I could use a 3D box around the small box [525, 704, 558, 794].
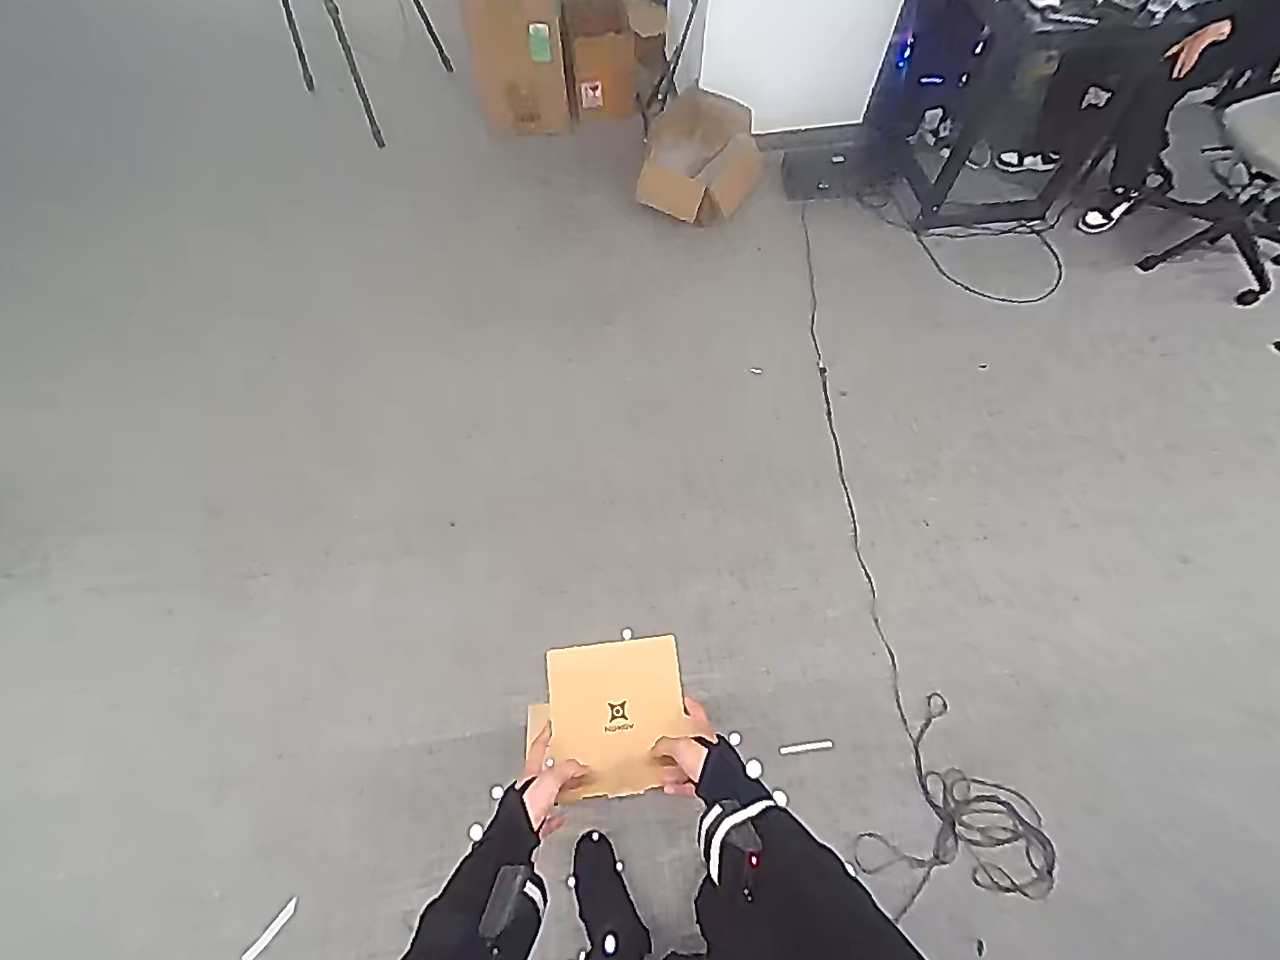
[{"bbox_3d":[-0.144,0.581,1.174,0.179,0.176,0.168,-3,61,0],"label":"small box"}]

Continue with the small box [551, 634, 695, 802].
[{"bbox_3d":[-0.027,0.310,0.735,0.168,0.176,0.179,-6,74,-4],"label":"small box"}]
